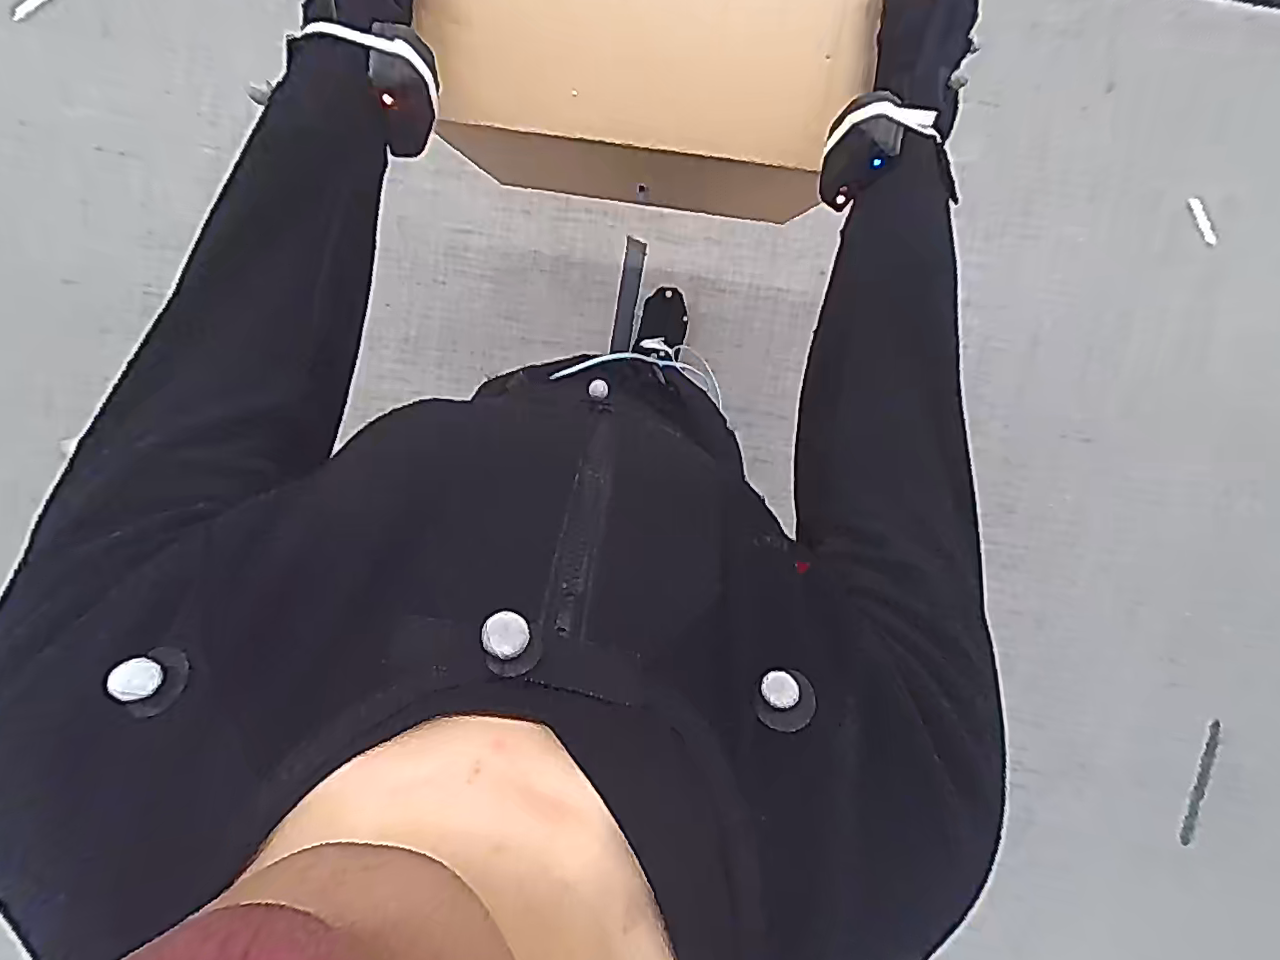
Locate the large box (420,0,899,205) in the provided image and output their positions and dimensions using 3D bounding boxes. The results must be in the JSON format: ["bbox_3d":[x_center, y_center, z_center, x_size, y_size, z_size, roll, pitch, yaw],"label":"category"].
[{"bbox_3d":[0.025,-0.497,0.571,0.408,0.320,0.320,7,108,-1],"label":"large box"}]
